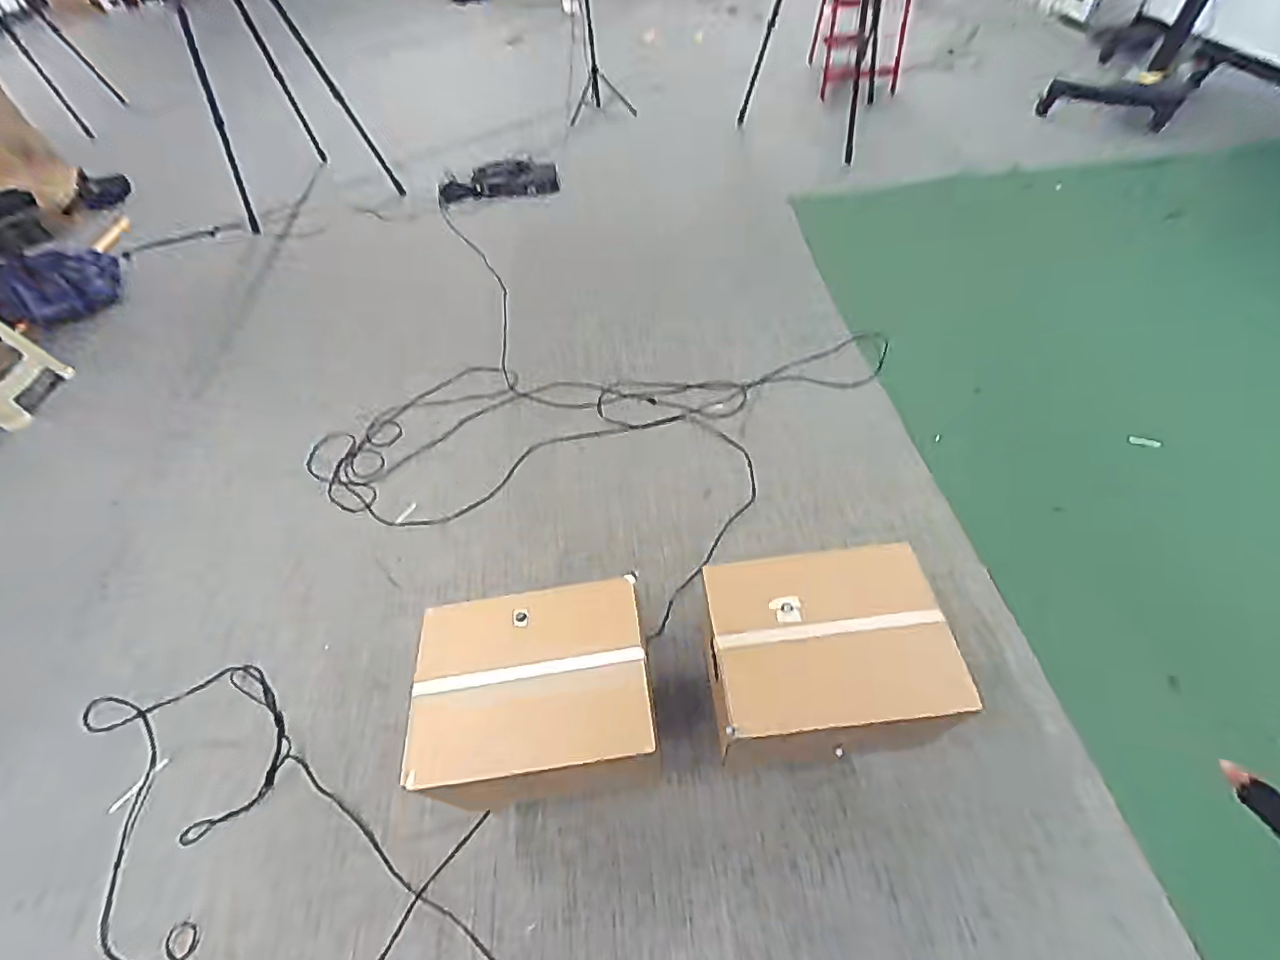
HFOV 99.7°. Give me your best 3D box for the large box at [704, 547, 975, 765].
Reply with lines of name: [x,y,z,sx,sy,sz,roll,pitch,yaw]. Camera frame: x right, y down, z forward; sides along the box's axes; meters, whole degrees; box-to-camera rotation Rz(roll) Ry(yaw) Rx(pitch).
large box: [0.352,0.363,1.089,0.408,0.320,0.320,-7,53,1]
